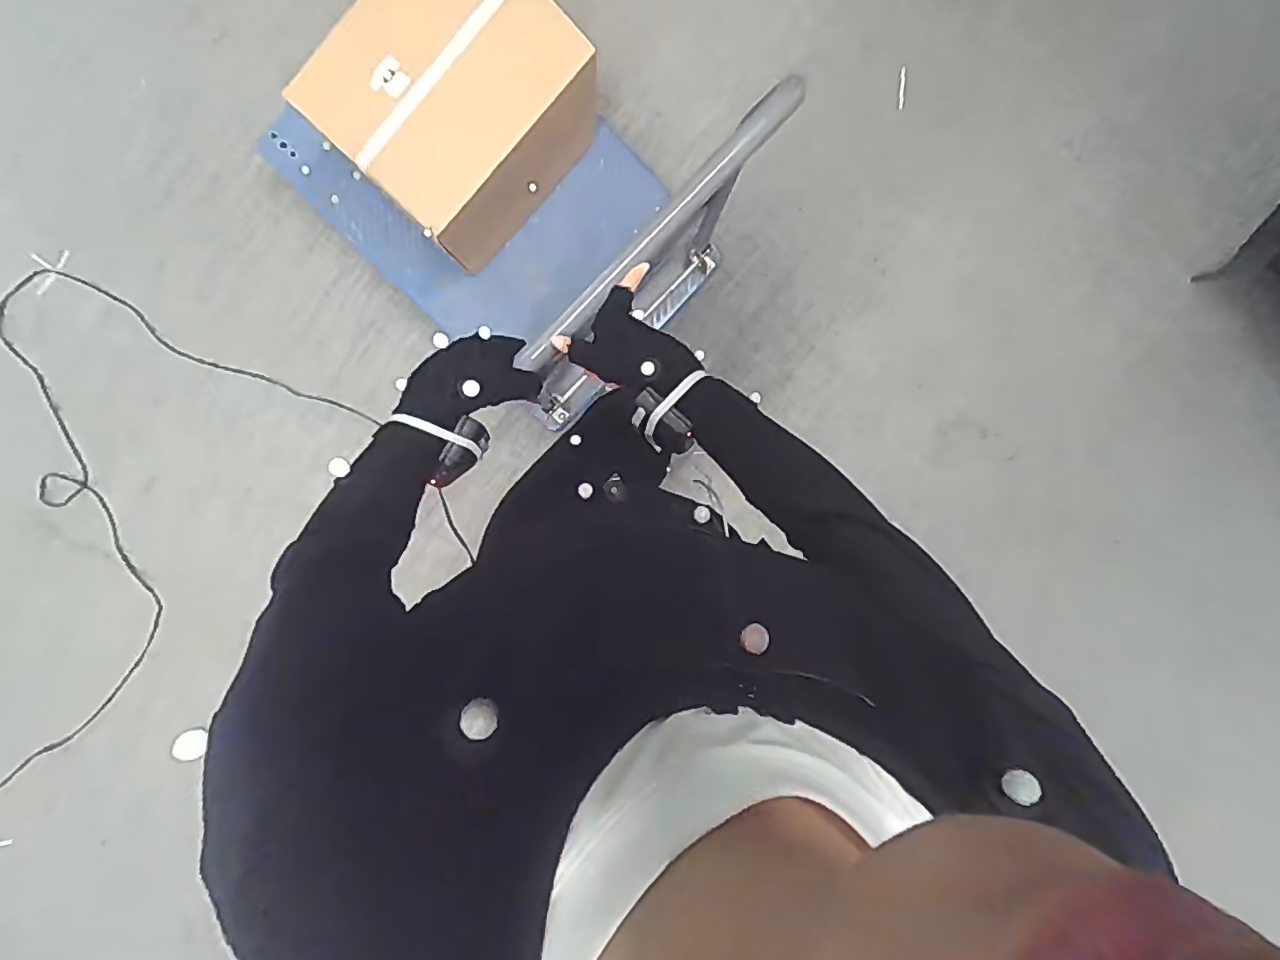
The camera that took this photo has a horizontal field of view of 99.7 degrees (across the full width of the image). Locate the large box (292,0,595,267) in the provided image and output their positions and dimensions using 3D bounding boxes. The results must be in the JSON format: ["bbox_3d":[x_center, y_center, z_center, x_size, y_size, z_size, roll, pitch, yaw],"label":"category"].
[{"bbox_3d":[-0.326,-0.687,1.017,0.320,0.320,0.408,43,95,-9],"label":"large box"}]
